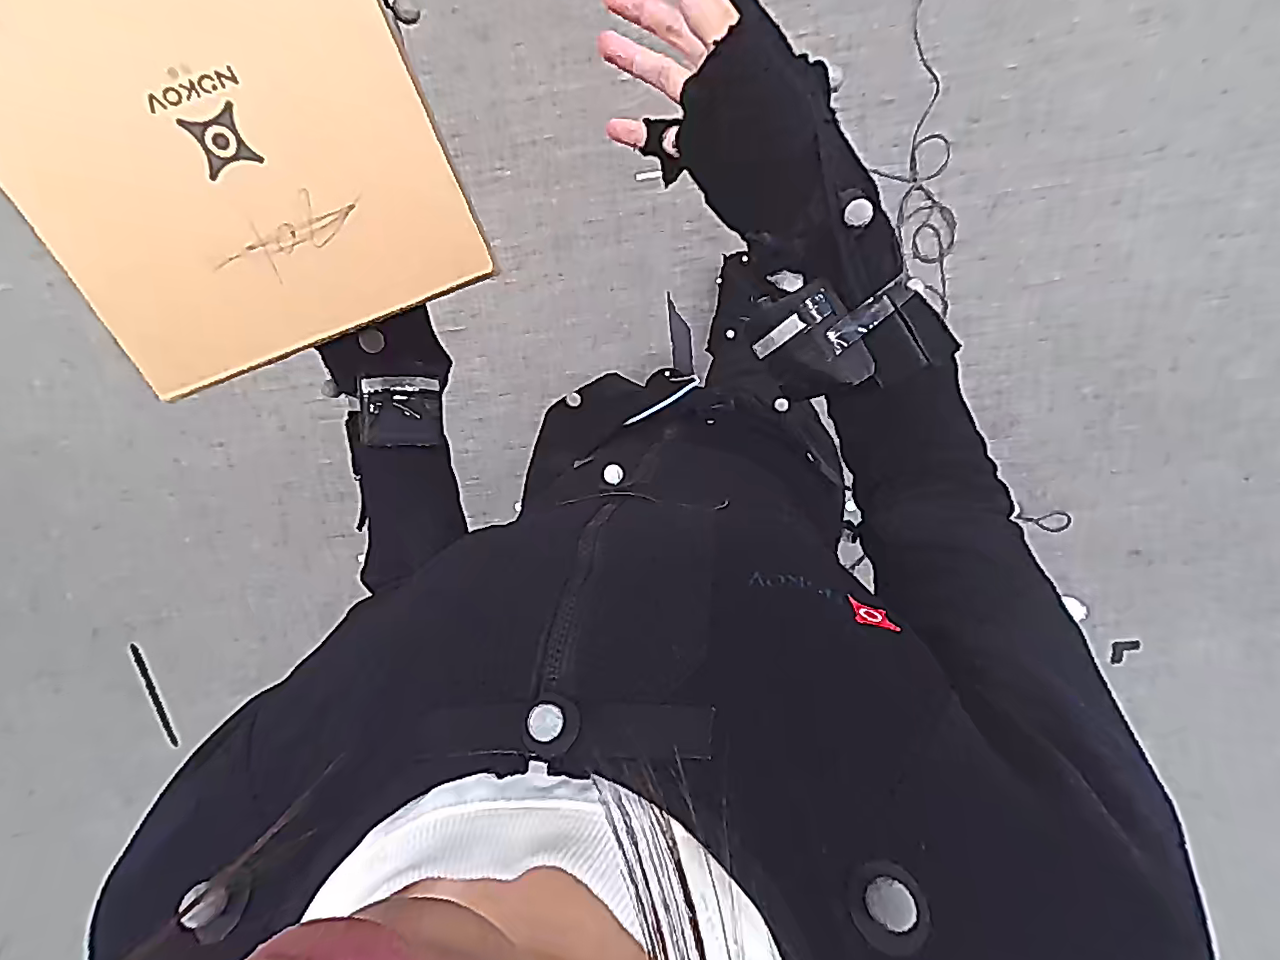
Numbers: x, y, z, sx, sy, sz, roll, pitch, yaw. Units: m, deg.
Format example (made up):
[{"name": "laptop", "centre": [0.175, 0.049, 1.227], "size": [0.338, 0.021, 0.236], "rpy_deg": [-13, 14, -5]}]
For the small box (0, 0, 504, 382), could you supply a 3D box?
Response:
[{"name": "small box", "centre": [-0.189, -0.176, 0.307], "size": [0.168, 0.176, 0.179], "rpy_deg": [-23, 114, -4]}]
